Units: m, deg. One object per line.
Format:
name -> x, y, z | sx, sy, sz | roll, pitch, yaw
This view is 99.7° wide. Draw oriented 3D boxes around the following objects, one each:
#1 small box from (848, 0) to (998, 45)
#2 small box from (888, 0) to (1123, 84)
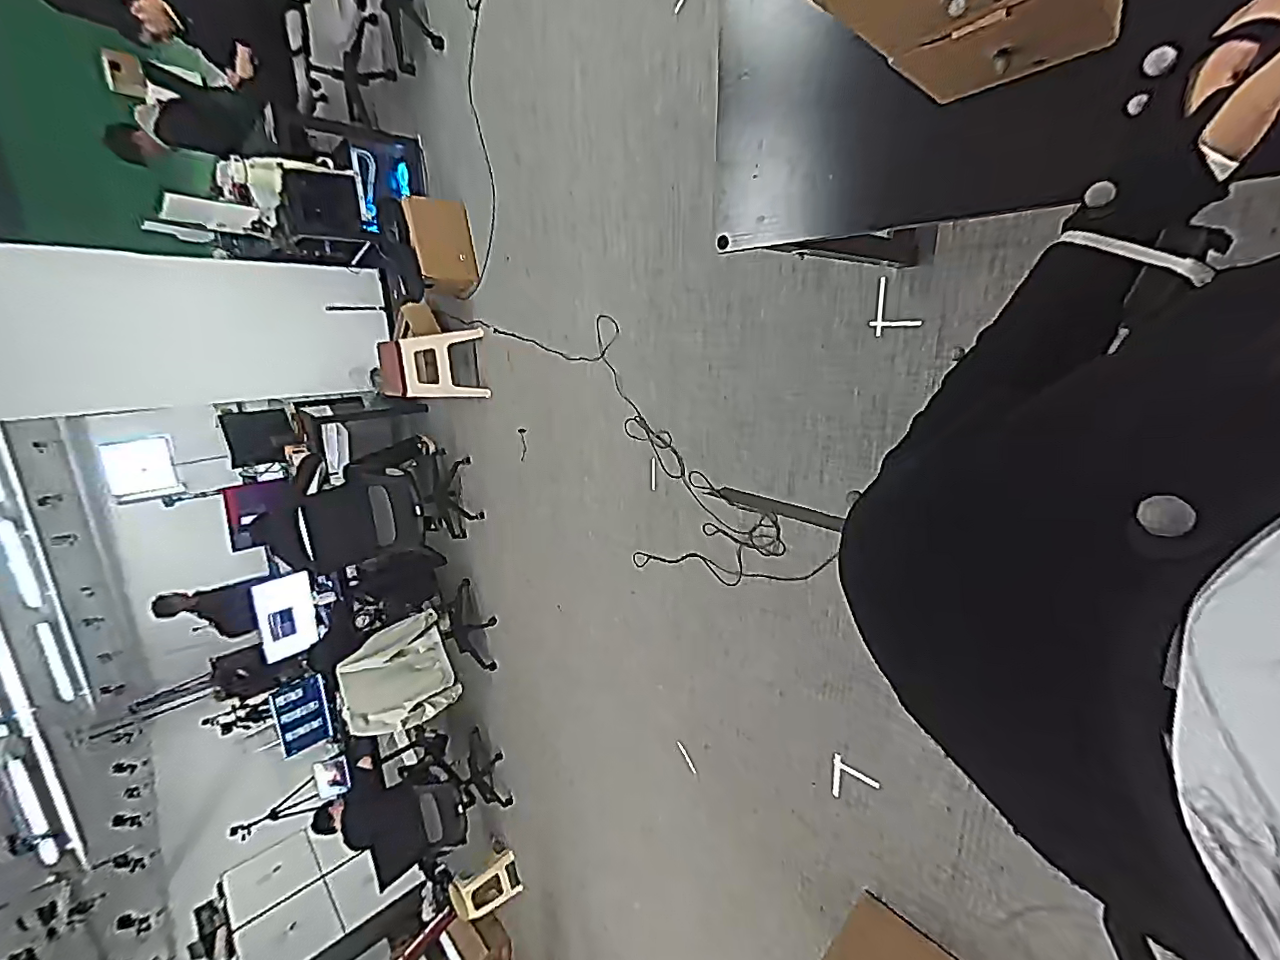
small box -> 0.242, -0.496, 0.419 | 0.168, 0.176, 0.179 | 8, 107, 47
small box -> 0.363, -0.524, 0.530 | 0.168, 0.176, 0.179 | 10, 109, 46
